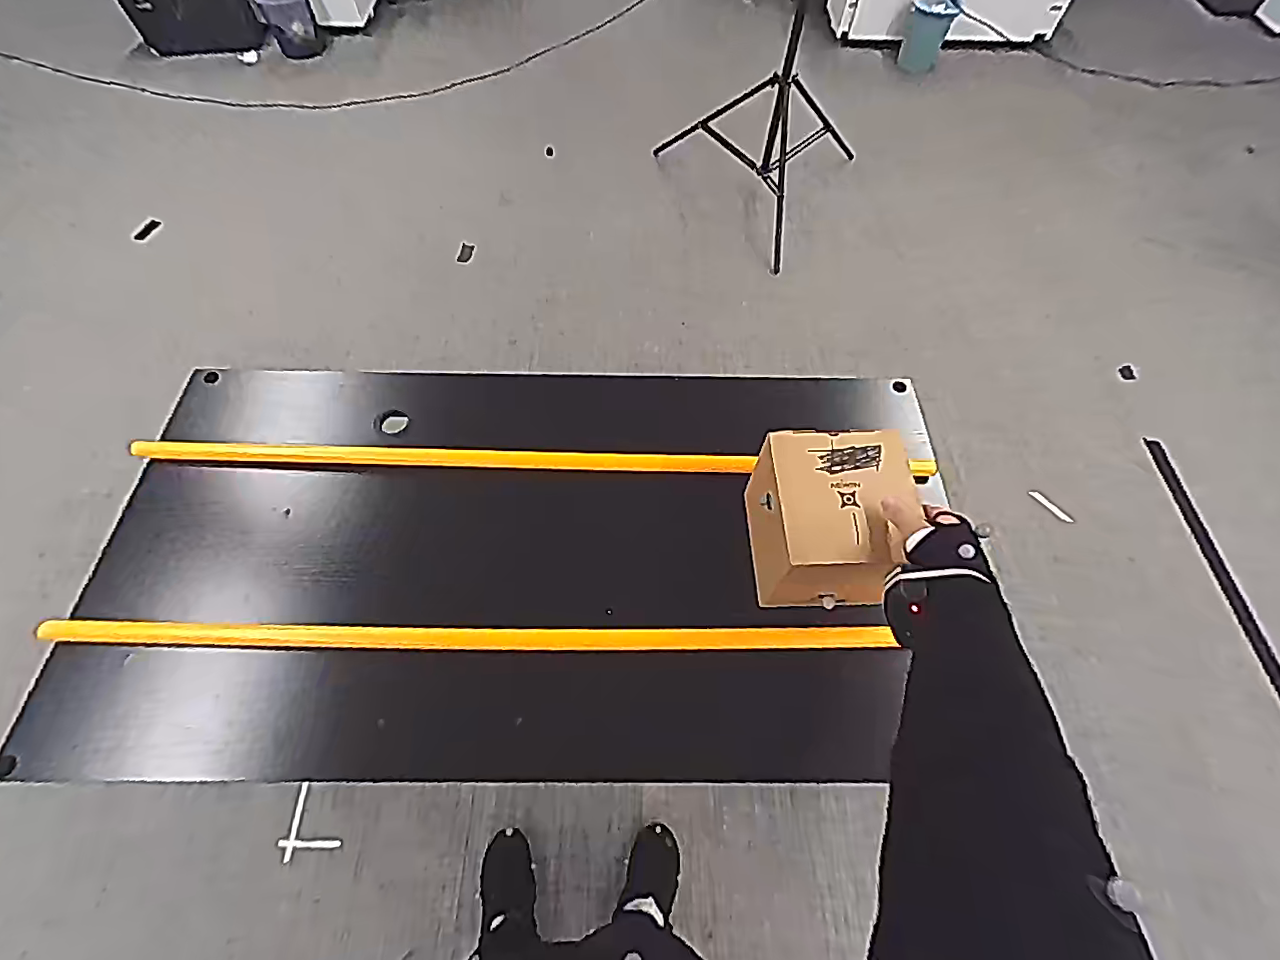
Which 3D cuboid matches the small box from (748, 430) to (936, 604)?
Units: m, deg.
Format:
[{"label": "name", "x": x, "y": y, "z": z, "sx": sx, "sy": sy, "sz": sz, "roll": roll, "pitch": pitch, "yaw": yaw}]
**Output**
[{"label": "small box", "x": 0.243, "y": 0.053, "z": 0.703, "sx": 0.168, "sy": 0.176, "sz": 0.179, "roll": -1, "pitch": 62, "yaw": -1}]
